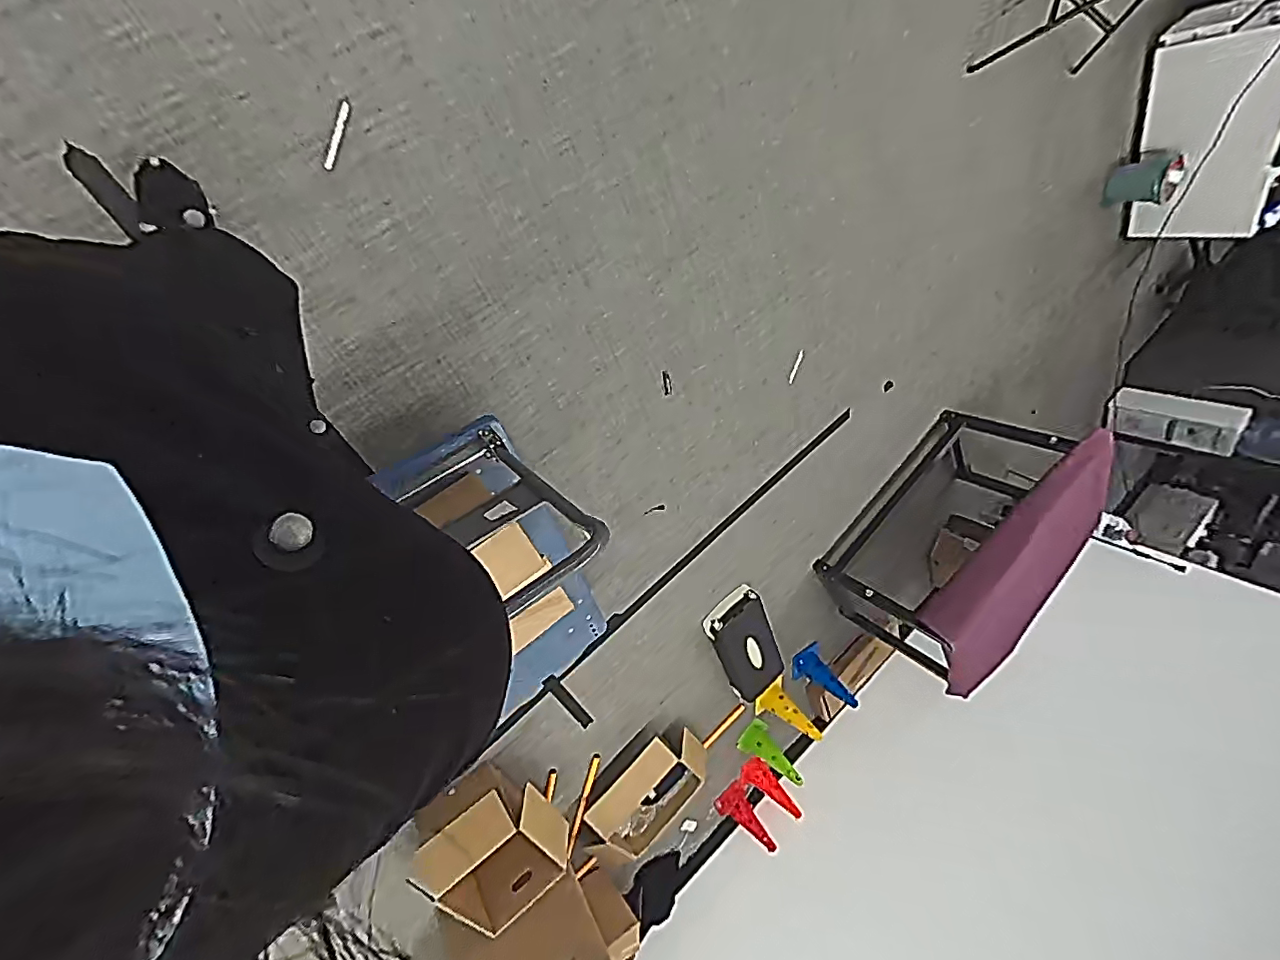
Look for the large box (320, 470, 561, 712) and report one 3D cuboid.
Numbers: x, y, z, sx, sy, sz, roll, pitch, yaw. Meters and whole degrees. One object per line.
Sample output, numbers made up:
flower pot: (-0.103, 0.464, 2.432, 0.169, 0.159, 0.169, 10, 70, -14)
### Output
large box: (-0.472, 0.246, 1.296, 0.408, 0.320, 0.320, -36, 127, -16)
